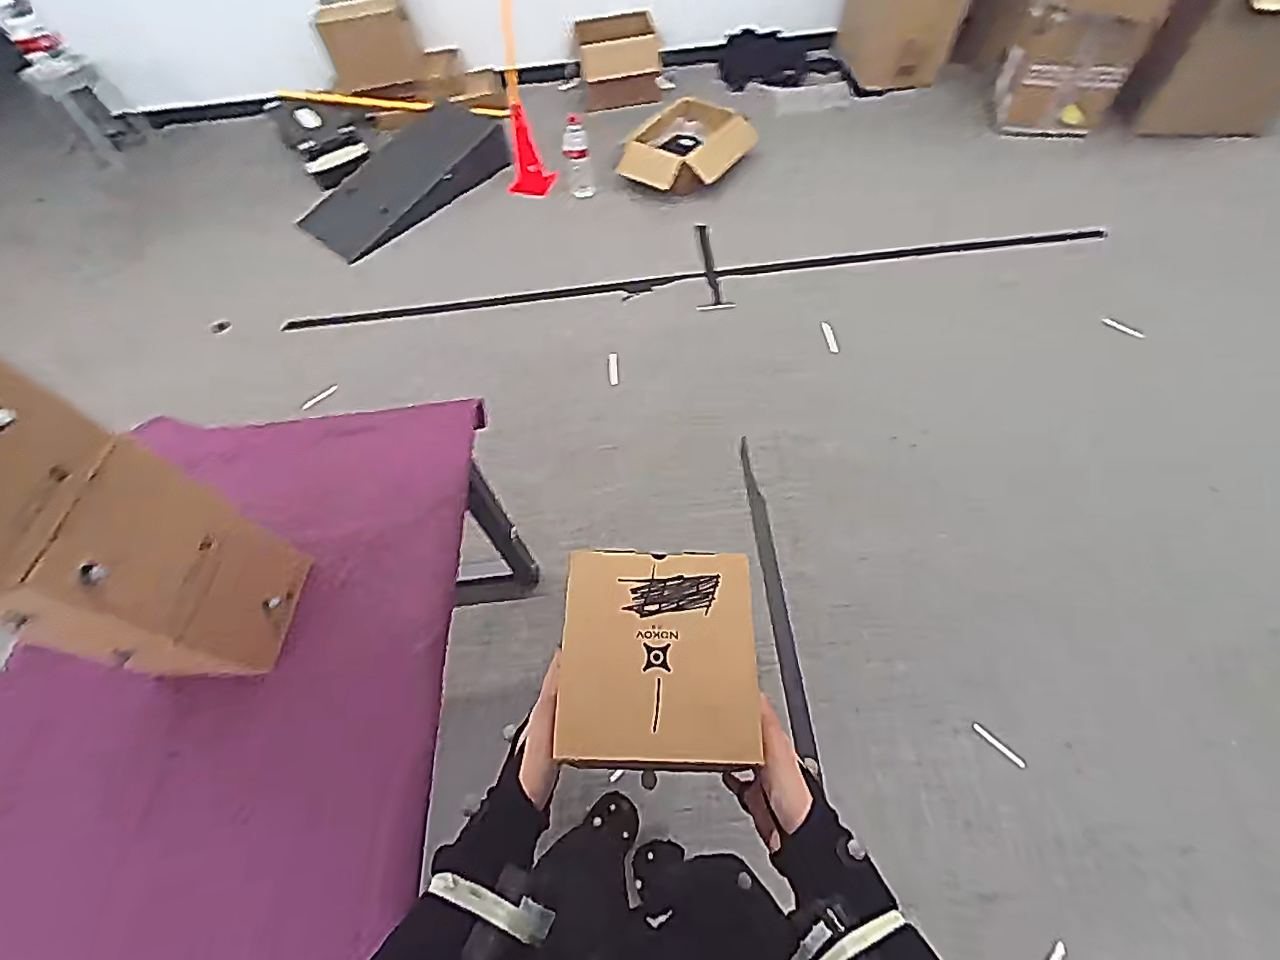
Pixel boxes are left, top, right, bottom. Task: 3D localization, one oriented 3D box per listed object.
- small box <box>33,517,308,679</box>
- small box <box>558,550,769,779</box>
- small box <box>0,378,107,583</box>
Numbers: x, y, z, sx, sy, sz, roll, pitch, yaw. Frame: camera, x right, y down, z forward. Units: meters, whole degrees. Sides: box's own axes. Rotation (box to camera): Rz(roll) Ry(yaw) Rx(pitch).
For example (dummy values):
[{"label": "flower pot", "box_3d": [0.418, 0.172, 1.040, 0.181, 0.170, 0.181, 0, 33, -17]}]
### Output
[{"label": "small box", "box_3d": [-0.587, 0.160, 0.708, 0.179, 0.176, 0.168, -1, 59, 4]}, {"label": "small box", "box_3d": [0.023, 0.183, 0.523, 0.168, 0.176, 0.179, 1, 60, 2]}, {"label": "small box", "box_3d": [-0.605, -0.008, 0.428, 0.179, 0.176, 0.168, -1, 57, 6]}]
